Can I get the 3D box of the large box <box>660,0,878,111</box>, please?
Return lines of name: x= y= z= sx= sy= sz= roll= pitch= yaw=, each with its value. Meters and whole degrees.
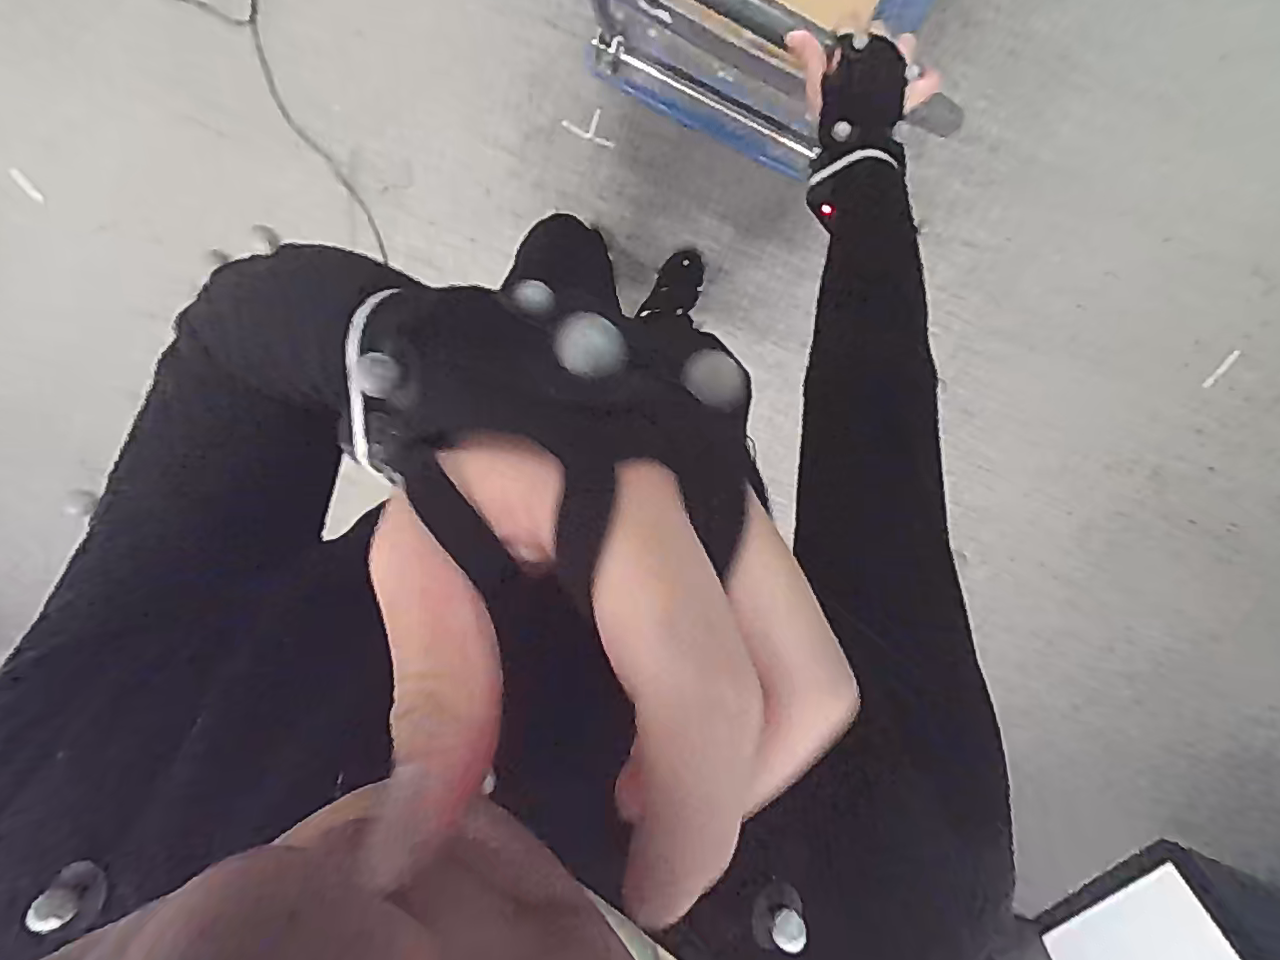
large box: x=0.250 y=-0.891 z=0.857 sx=0.320 sy=0.320 sz=0.408 roll=23 pitch=117 yaw=-7
